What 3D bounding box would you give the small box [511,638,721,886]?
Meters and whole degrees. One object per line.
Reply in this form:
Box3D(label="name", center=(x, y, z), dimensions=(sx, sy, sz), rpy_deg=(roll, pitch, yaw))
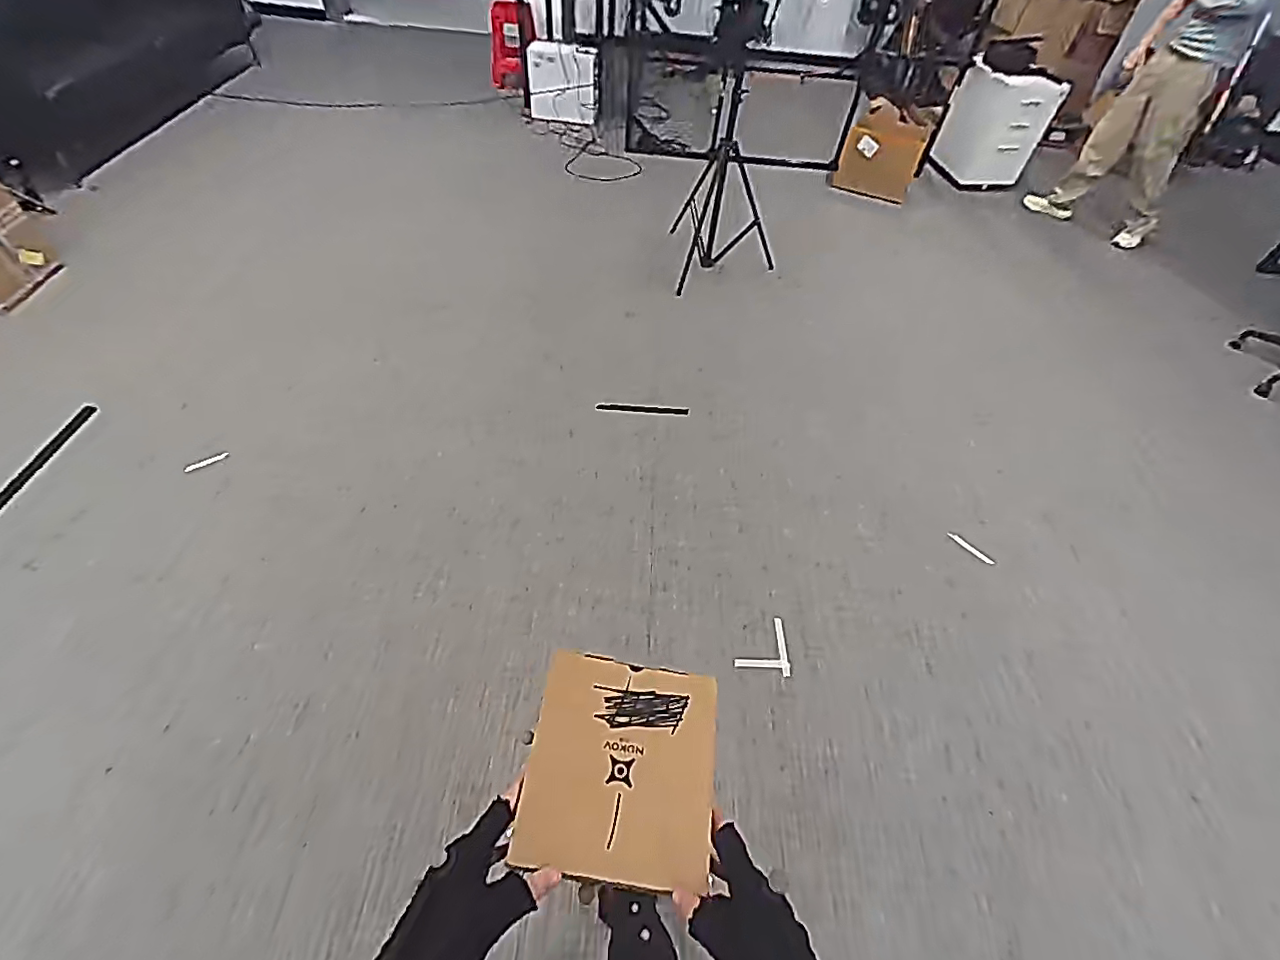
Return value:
Box3D(label="small box", center=(-0.024, 0.283, 0.538), dimensions=(0.168, 0.176, 0.179), rpy_deg=(11, 53, -2))
